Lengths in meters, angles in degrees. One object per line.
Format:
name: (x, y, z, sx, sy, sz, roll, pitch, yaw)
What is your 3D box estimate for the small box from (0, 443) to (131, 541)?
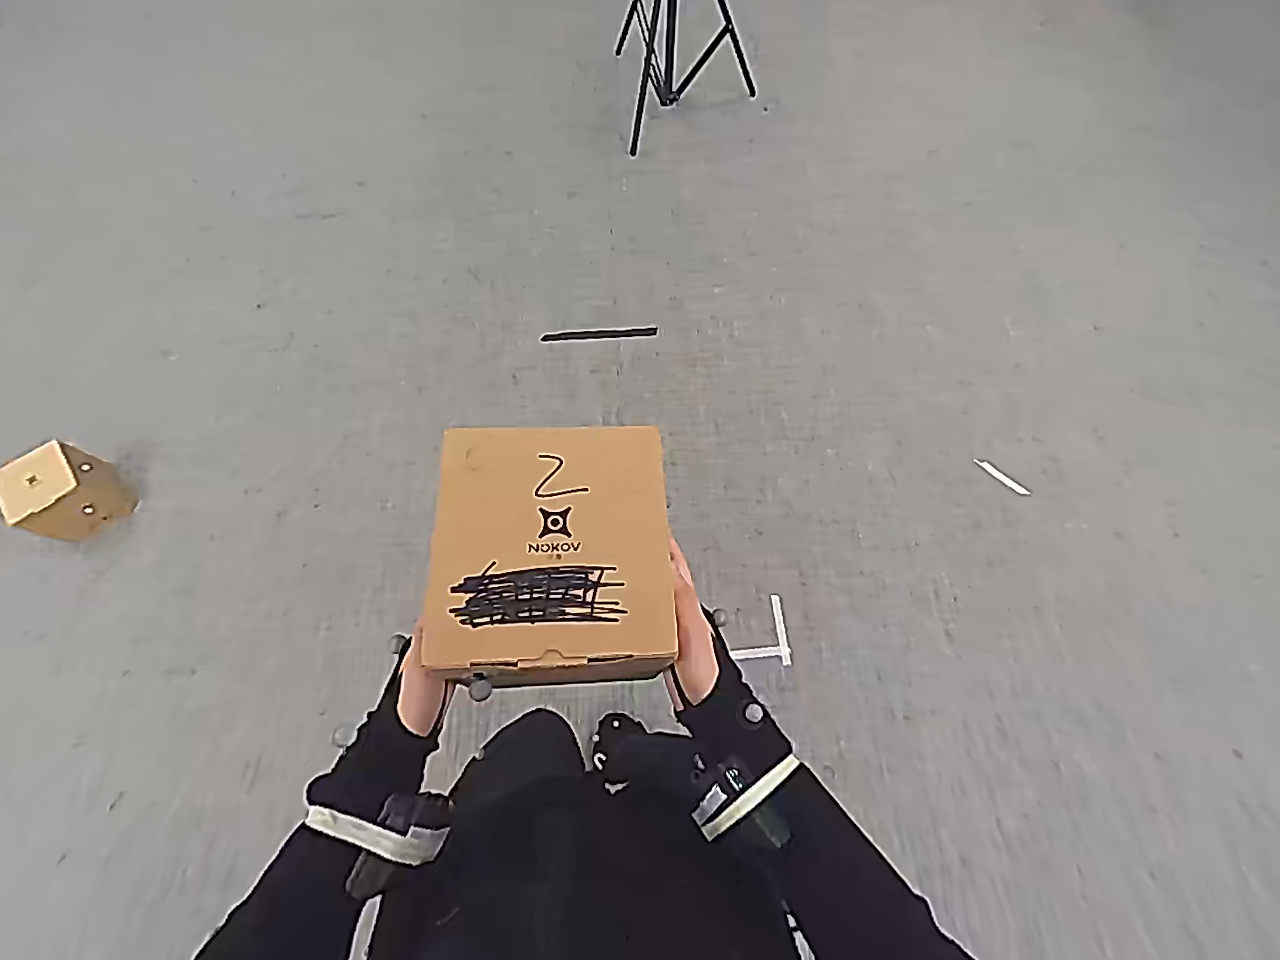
small box: (-1.511, 0.041, 1.423, 0.168, 0.176, 0.179, -38, 72, -15)
